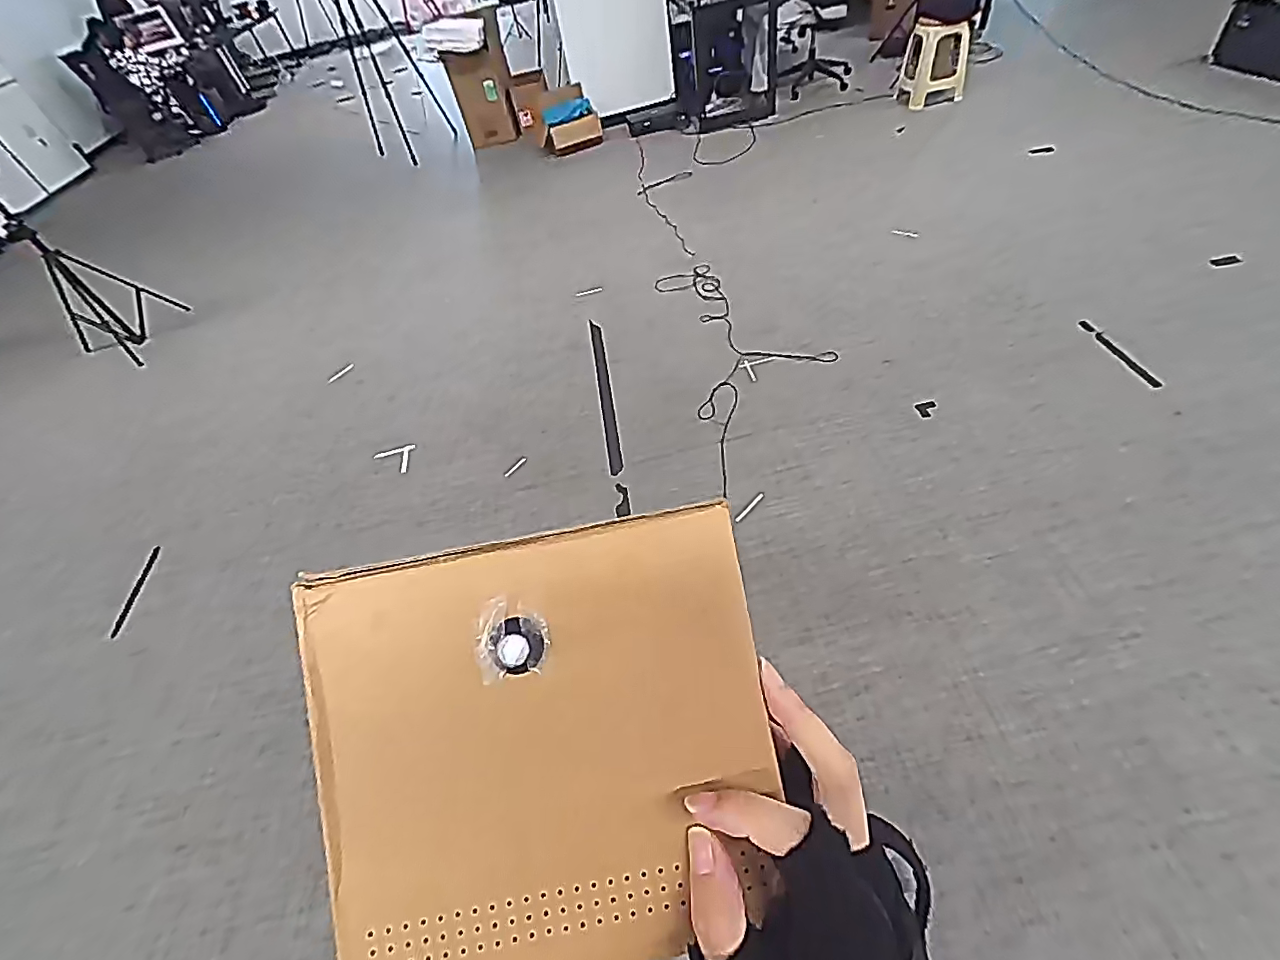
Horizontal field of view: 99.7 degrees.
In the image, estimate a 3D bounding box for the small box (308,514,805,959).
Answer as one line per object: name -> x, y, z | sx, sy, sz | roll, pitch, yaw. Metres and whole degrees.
small box -> -0.034, 0.118, 0.287 | 0.179, 0.168, 0.176 | -10, 86, -2
